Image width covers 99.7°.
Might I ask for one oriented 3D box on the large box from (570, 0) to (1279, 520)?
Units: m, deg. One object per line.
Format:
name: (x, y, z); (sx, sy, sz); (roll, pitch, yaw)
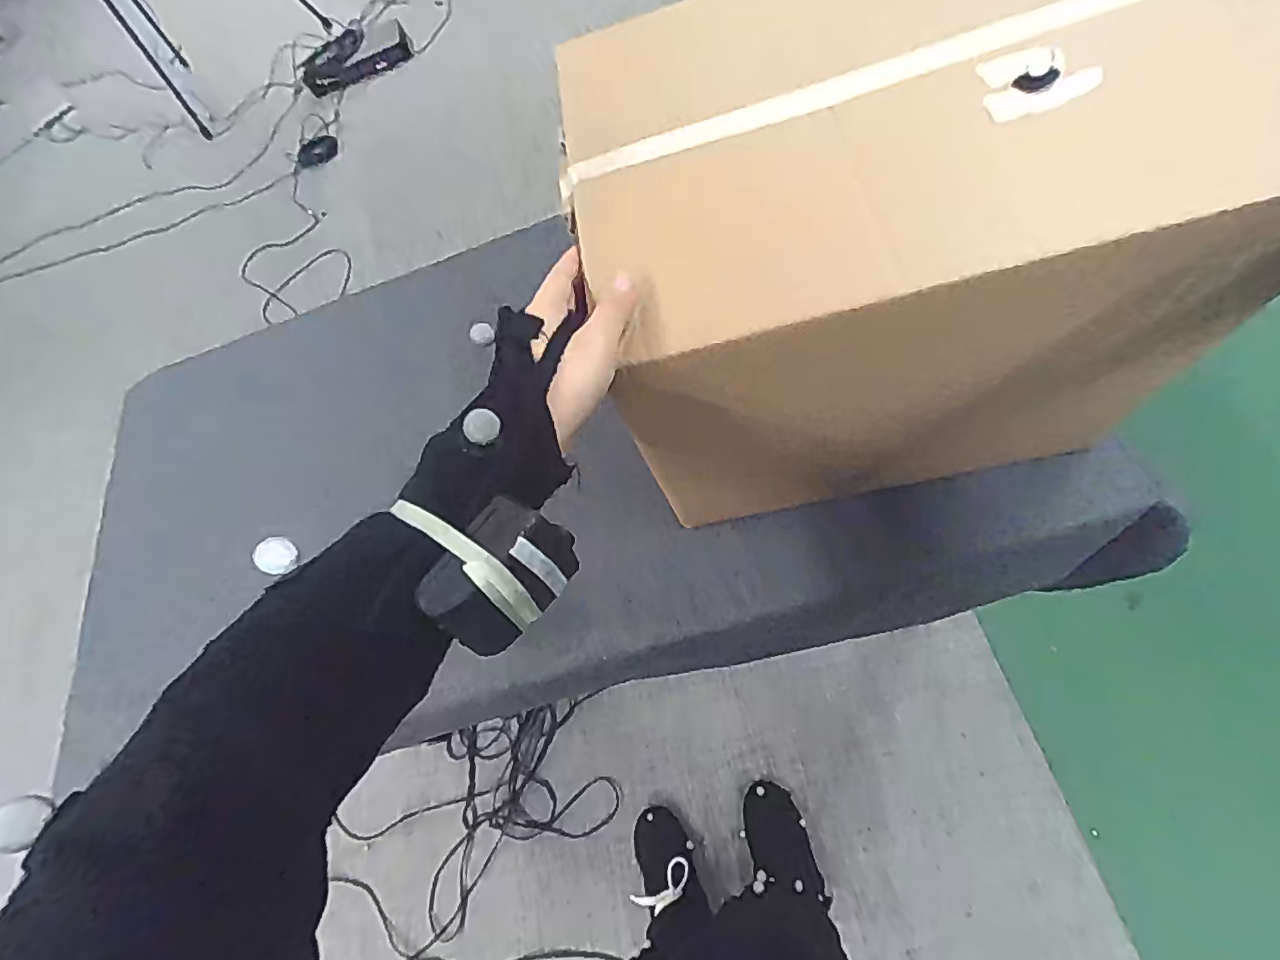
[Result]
large box: (0.187, -0.188, 0.474); (0.408, 0.320, 0.320); (-12, 67, 8)
